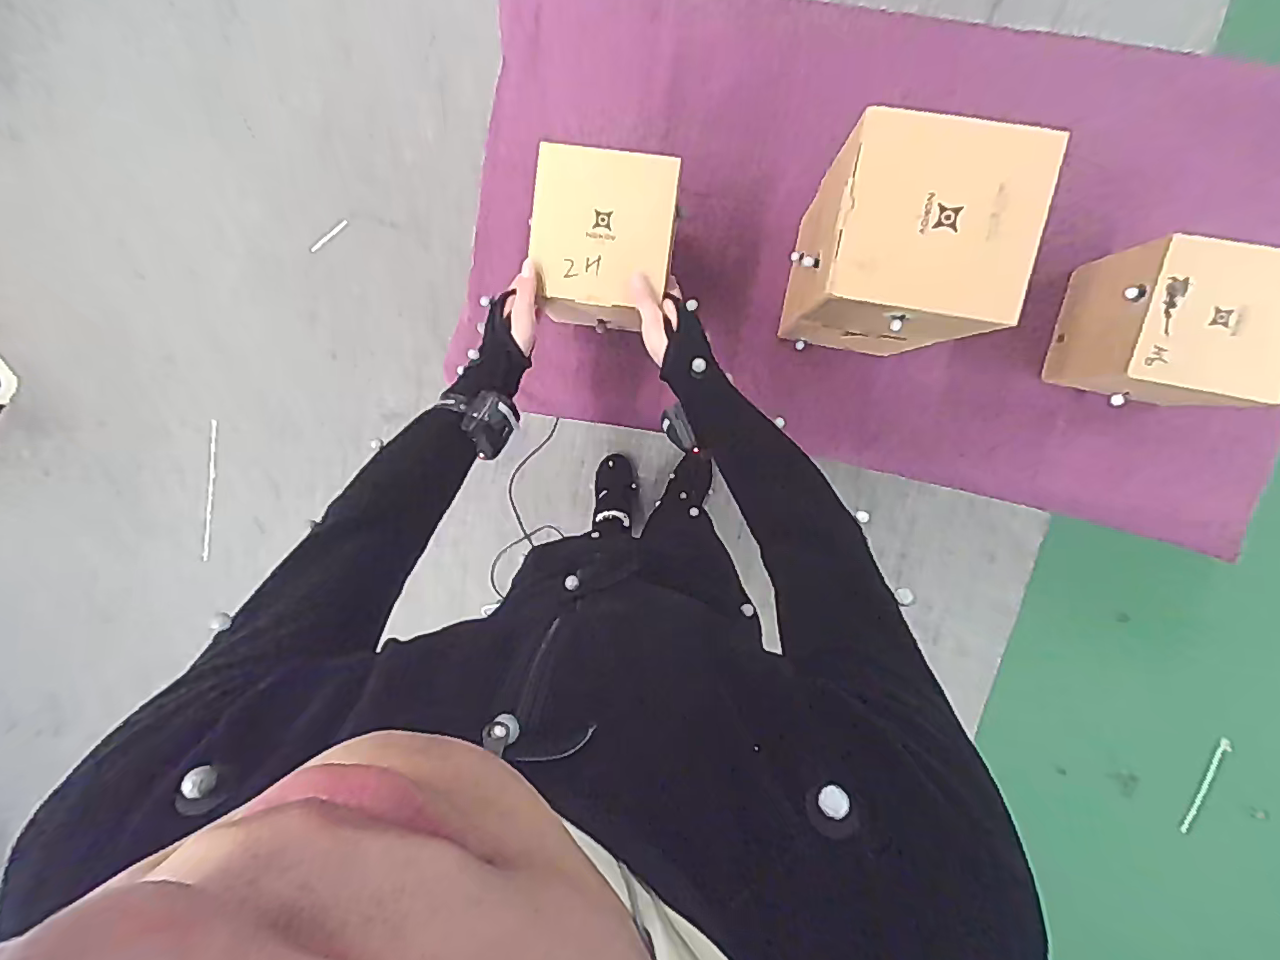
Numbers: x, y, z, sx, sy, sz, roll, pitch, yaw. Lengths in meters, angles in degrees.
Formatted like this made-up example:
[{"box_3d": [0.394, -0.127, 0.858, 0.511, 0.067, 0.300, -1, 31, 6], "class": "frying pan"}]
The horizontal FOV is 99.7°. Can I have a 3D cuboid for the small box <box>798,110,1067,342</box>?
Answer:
[{"box_3d": [0.278, -0.244, 0.564, 0.179, 0.176, 0.168, 11, 100, 3], "class": "small box"}]

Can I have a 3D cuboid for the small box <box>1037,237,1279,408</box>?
[{"box_3d": [0.676, -0.192, 0.701, 0.179, 0.176, 0.168, 12, 98, 3], "class": "small box"}]

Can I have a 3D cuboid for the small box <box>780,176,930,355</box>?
[{"box_3d": [0.294, -0.271, 0.724, 0.168, 0.176, 0.179, 11, 99, 3], "class": "small box"}]

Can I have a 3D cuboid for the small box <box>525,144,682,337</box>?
[{"box_3d": [-0.041, -0.296, 0.702, 0.168, 0.176, 0.179, 7, 97, 2], "class": "small box"}]
